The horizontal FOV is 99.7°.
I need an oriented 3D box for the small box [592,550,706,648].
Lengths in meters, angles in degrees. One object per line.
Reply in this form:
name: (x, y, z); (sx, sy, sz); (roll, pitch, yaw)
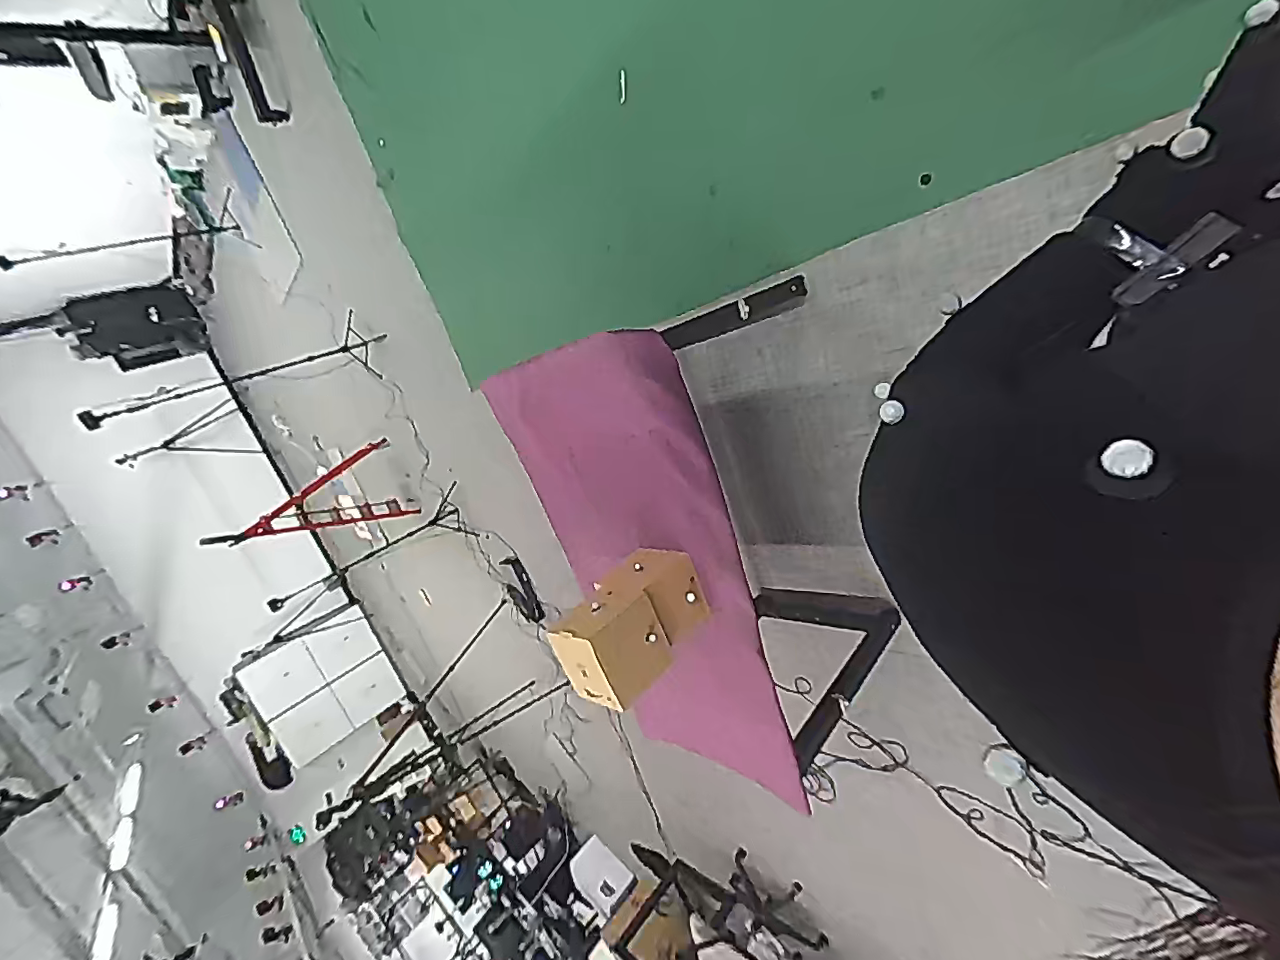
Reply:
small box: (0.023, 0.276, 1.263); (0.179, 0.176, 0.168); (-3, 113, 48)

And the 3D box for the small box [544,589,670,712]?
small box: (-0.067, 0.349, 1.144); (0.168, 0.176, 0.179); (-8, 109, 50)
